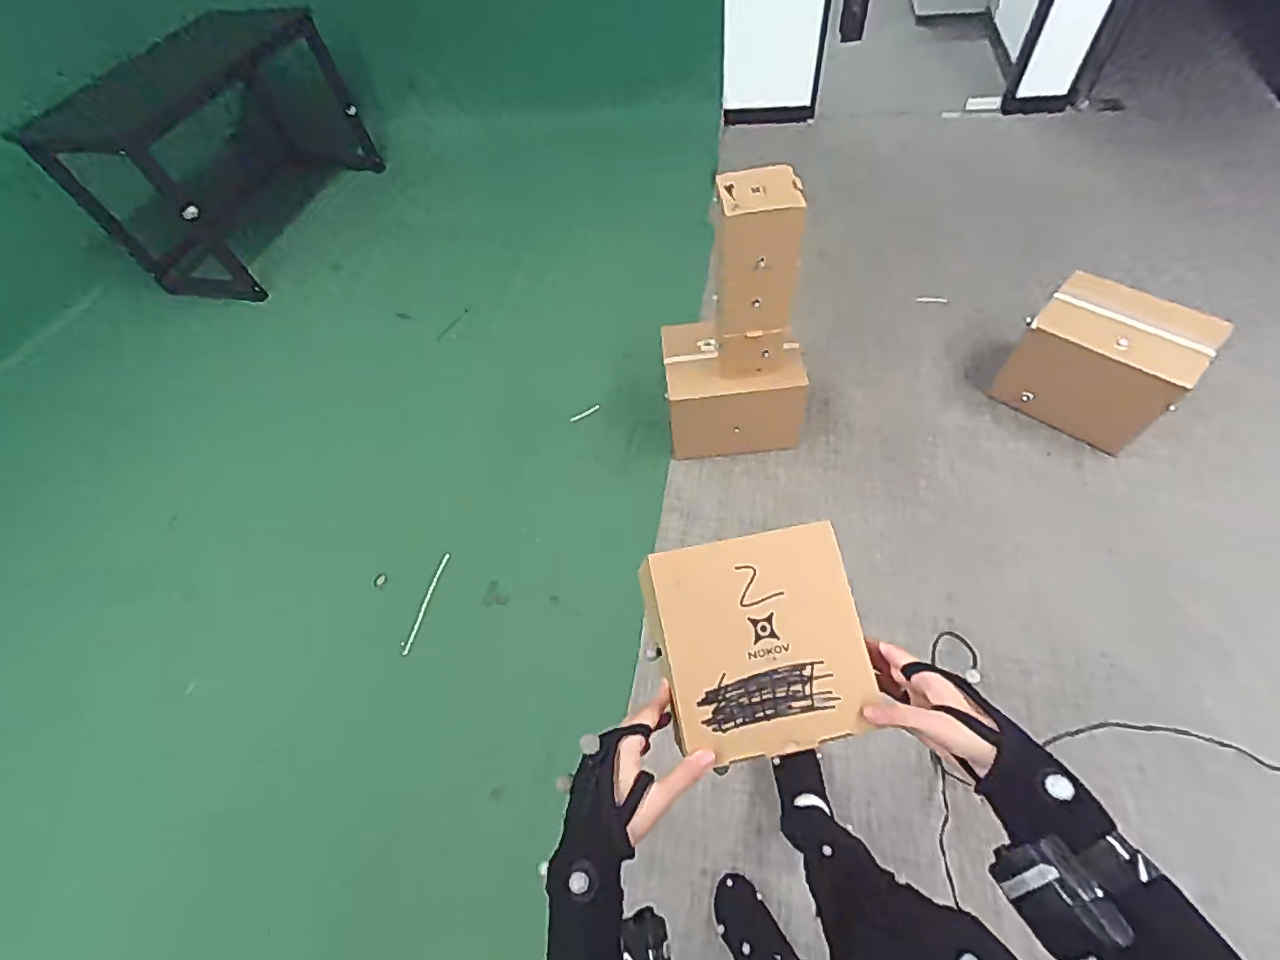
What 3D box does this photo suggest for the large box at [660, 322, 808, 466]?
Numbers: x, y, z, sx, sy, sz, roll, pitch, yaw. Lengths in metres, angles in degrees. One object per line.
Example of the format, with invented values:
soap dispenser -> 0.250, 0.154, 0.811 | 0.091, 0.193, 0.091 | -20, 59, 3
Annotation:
large box -> 0.291, -0.275, 1.748 | 0.408, 0.320, 0.320 | -7, 55, 5

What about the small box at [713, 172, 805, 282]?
small box -> 0.270, -0.588, 1.267 | 0.179, 0.176, 0.168 | -5, 56, 2

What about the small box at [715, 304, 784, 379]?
small box -> 0.306, -0.403, 1.536 | 0.168, 0.176, 0.179 | -6, 56, 4

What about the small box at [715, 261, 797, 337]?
small box -> 0.291, -0.496, 1.402 | 0.179, 0.176, 0.168 | -7, 56, 3
